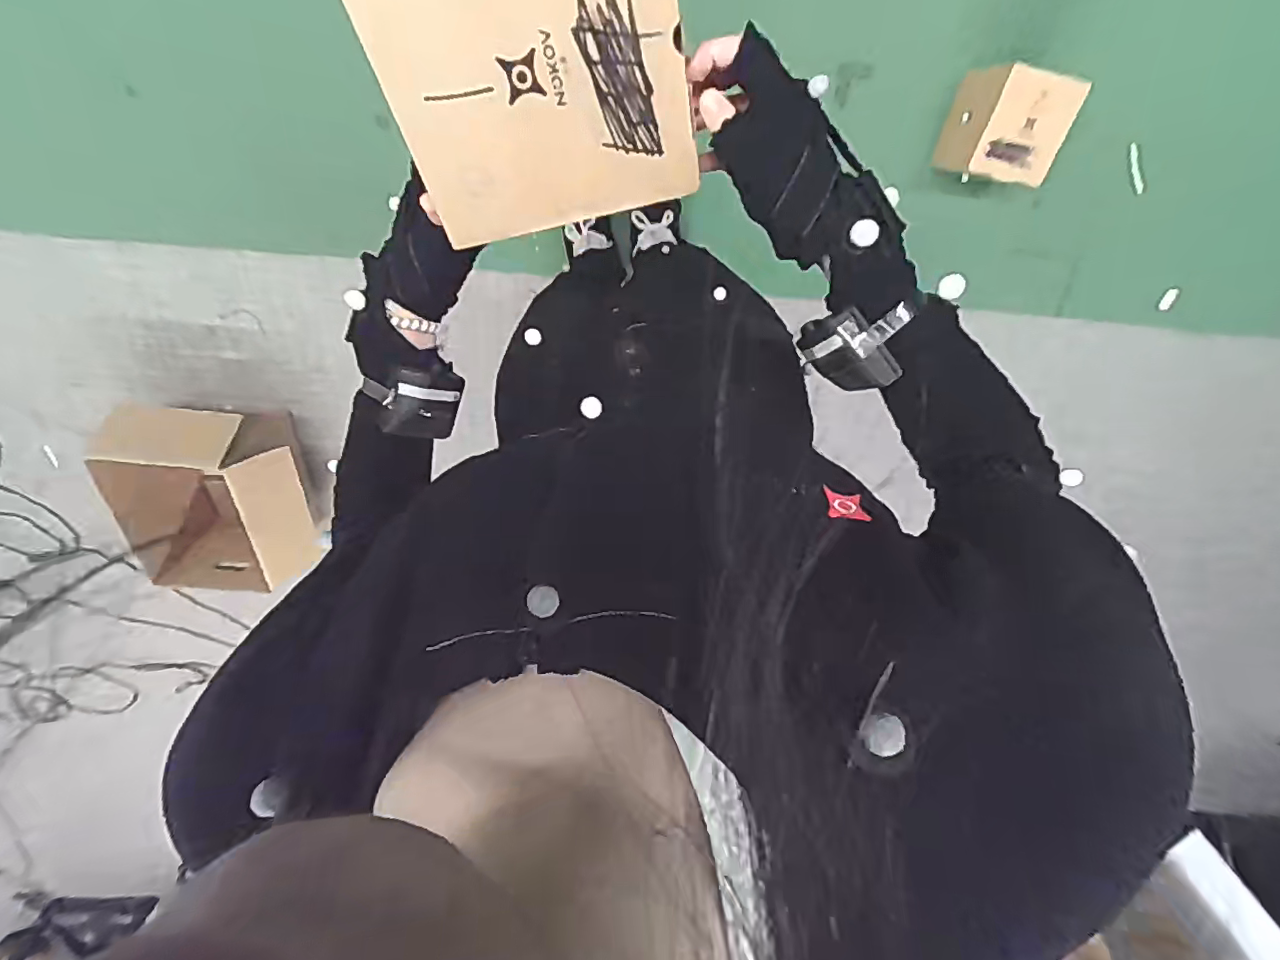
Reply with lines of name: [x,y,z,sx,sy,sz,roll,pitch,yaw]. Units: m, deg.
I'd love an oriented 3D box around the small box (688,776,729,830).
small box: [0.325,1.562,2.613,0.168,0.176,0.179,2,123,-4]

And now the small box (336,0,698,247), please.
small box: [-0.068,-0.284,0.354,0.179,0.176,0.168,-11,137,4]
